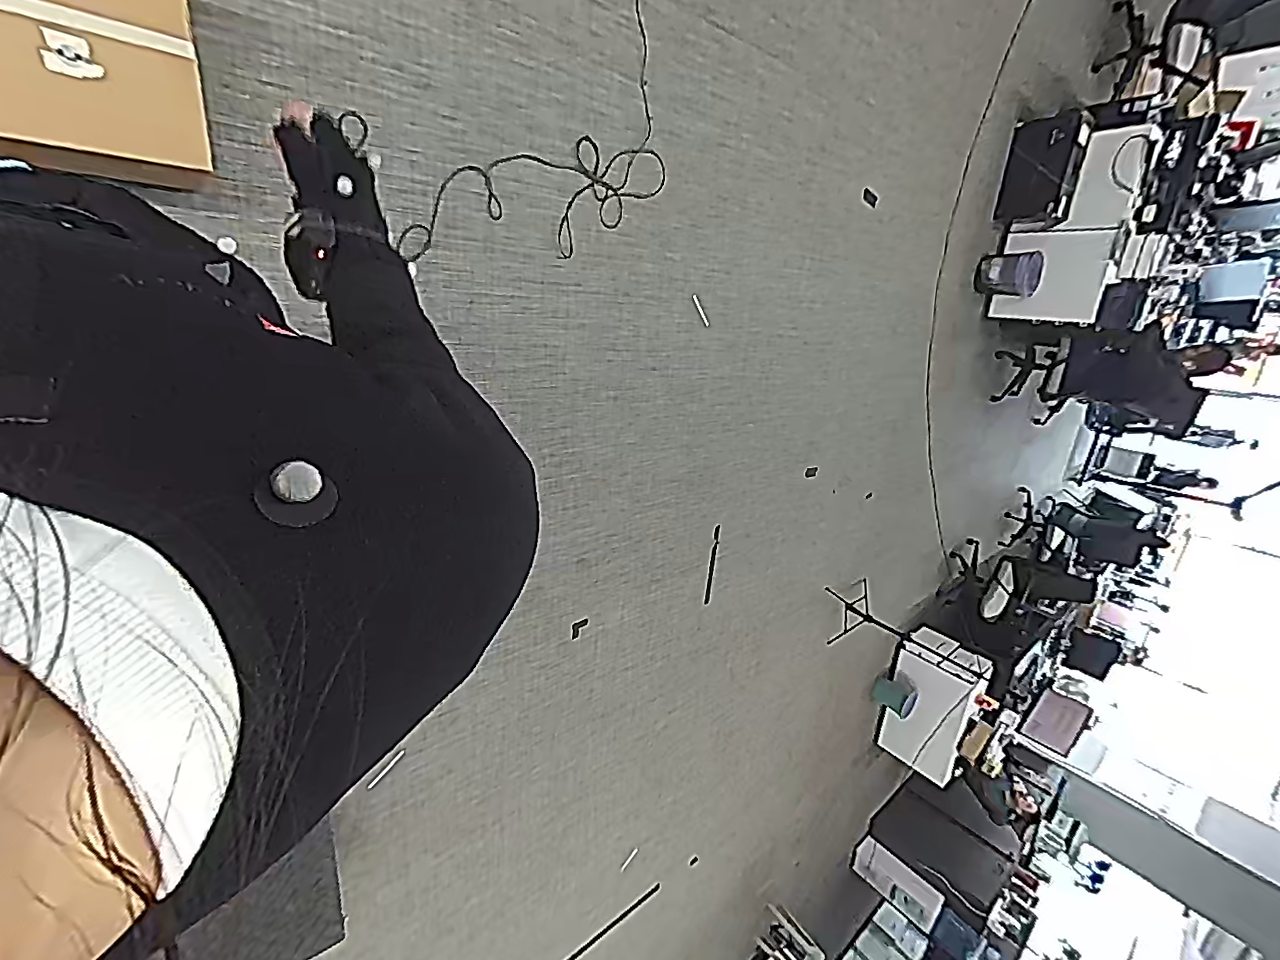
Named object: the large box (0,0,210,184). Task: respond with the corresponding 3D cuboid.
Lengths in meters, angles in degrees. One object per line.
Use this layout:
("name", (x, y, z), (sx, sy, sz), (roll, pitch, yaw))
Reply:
("large box", (-0.907, -0.643, 0.773), (0.408, 0.320, 0.320), (-12, 115, -40))

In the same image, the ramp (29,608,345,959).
("ramp", (-1.047, 0.845, 1.323), (0.509, 0.206, 0.991), (-10, 113, -38))
